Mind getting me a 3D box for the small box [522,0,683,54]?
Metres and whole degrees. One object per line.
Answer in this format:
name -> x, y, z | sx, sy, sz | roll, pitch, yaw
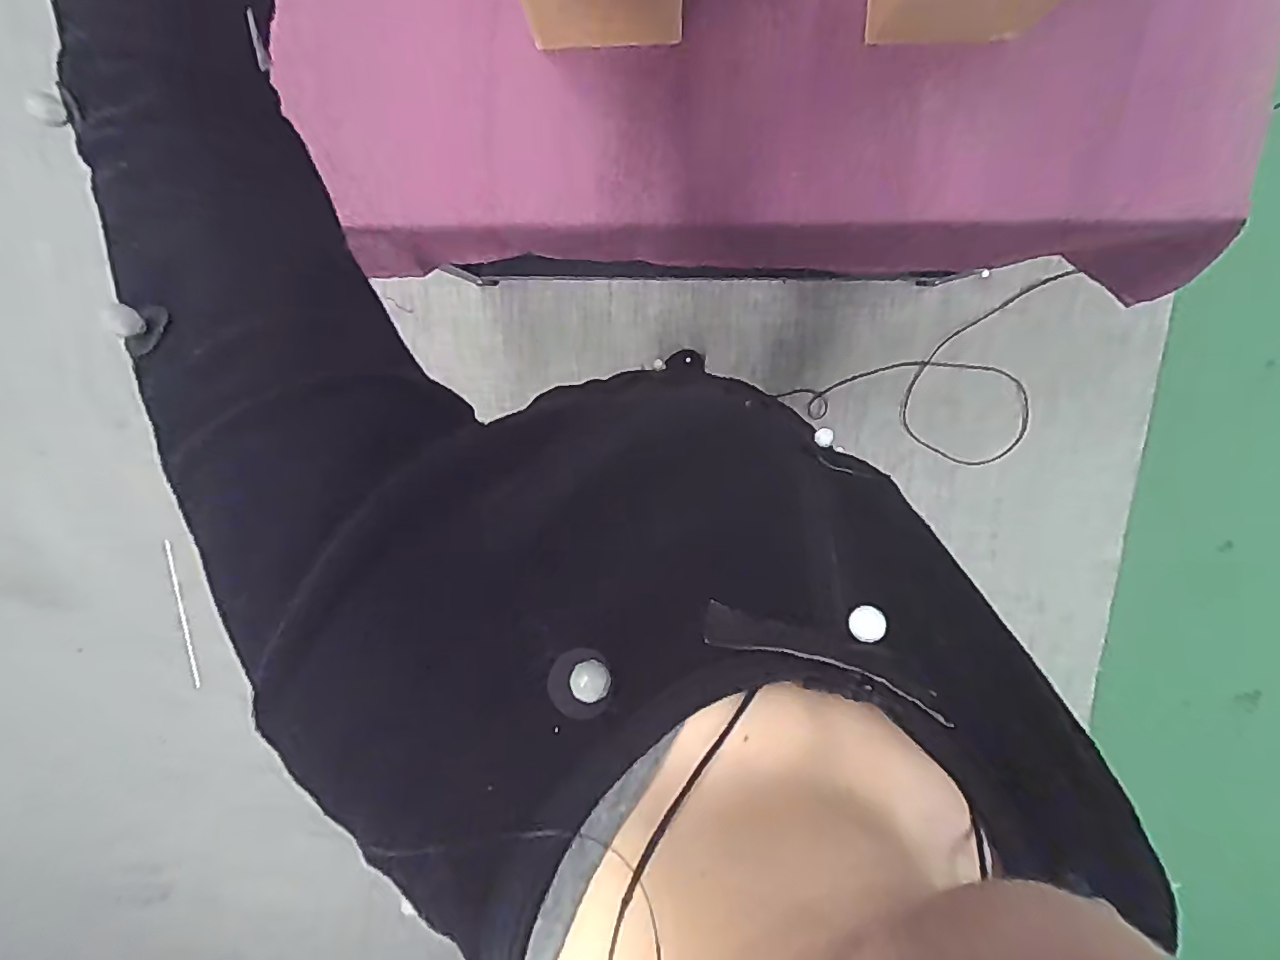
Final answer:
small box -> -0.042, -0.576, 0.556 | 0.179, 0.176, 0.168 | -2, 102, 2
